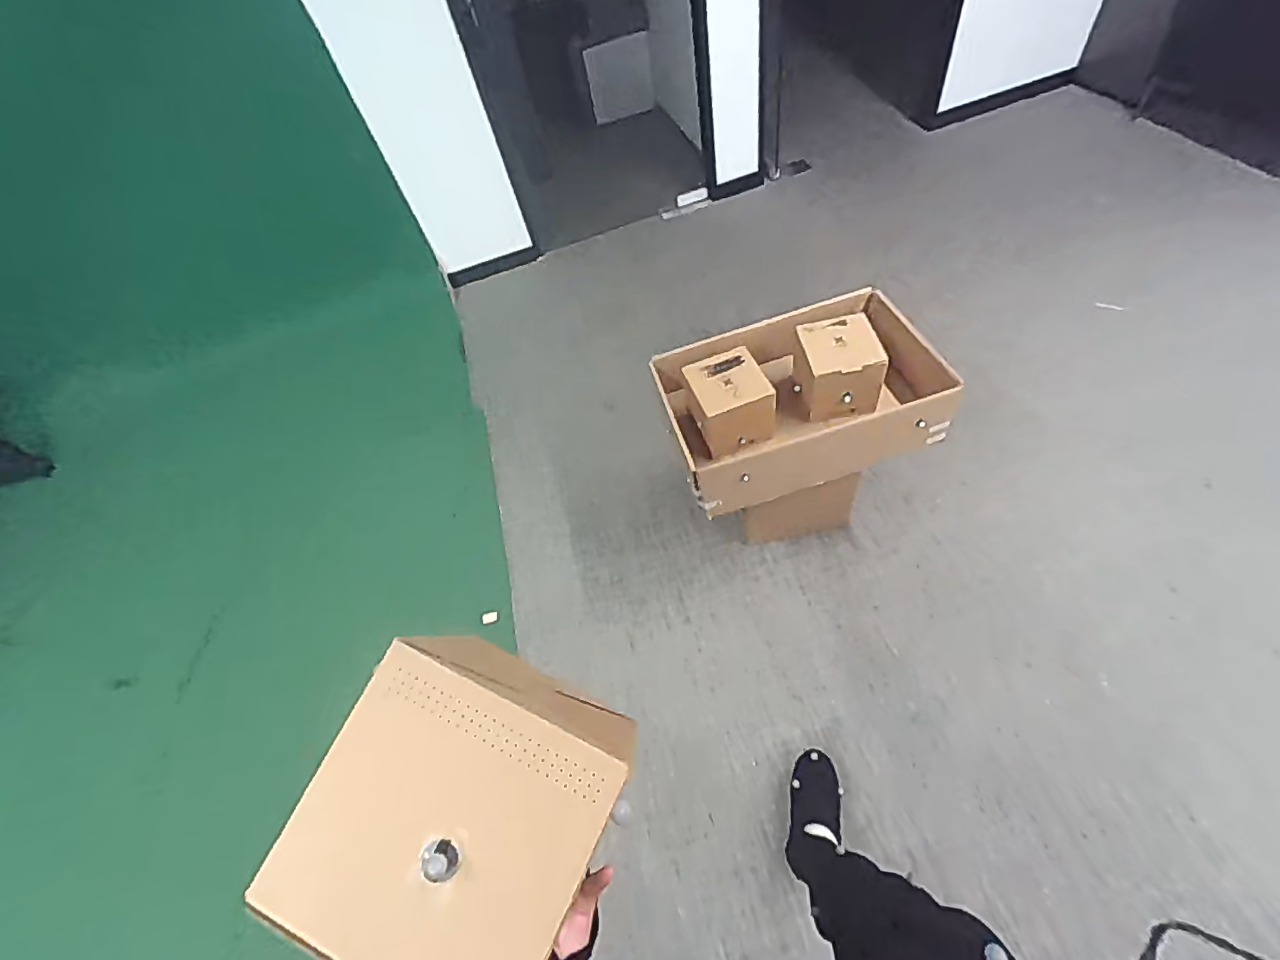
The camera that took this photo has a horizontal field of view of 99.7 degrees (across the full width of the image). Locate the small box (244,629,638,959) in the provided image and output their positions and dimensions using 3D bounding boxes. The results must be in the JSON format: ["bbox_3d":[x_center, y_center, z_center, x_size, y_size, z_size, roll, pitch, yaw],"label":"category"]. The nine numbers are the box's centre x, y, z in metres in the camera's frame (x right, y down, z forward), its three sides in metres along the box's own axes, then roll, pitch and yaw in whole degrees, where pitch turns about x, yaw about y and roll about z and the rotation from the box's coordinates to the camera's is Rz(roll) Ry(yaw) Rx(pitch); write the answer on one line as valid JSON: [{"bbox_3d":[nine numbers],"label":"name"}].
[{"bbox_3d":[-0.116,0.220,0.394,0.179,0.168,0.176,24,76,9],"label":"small box"}]
